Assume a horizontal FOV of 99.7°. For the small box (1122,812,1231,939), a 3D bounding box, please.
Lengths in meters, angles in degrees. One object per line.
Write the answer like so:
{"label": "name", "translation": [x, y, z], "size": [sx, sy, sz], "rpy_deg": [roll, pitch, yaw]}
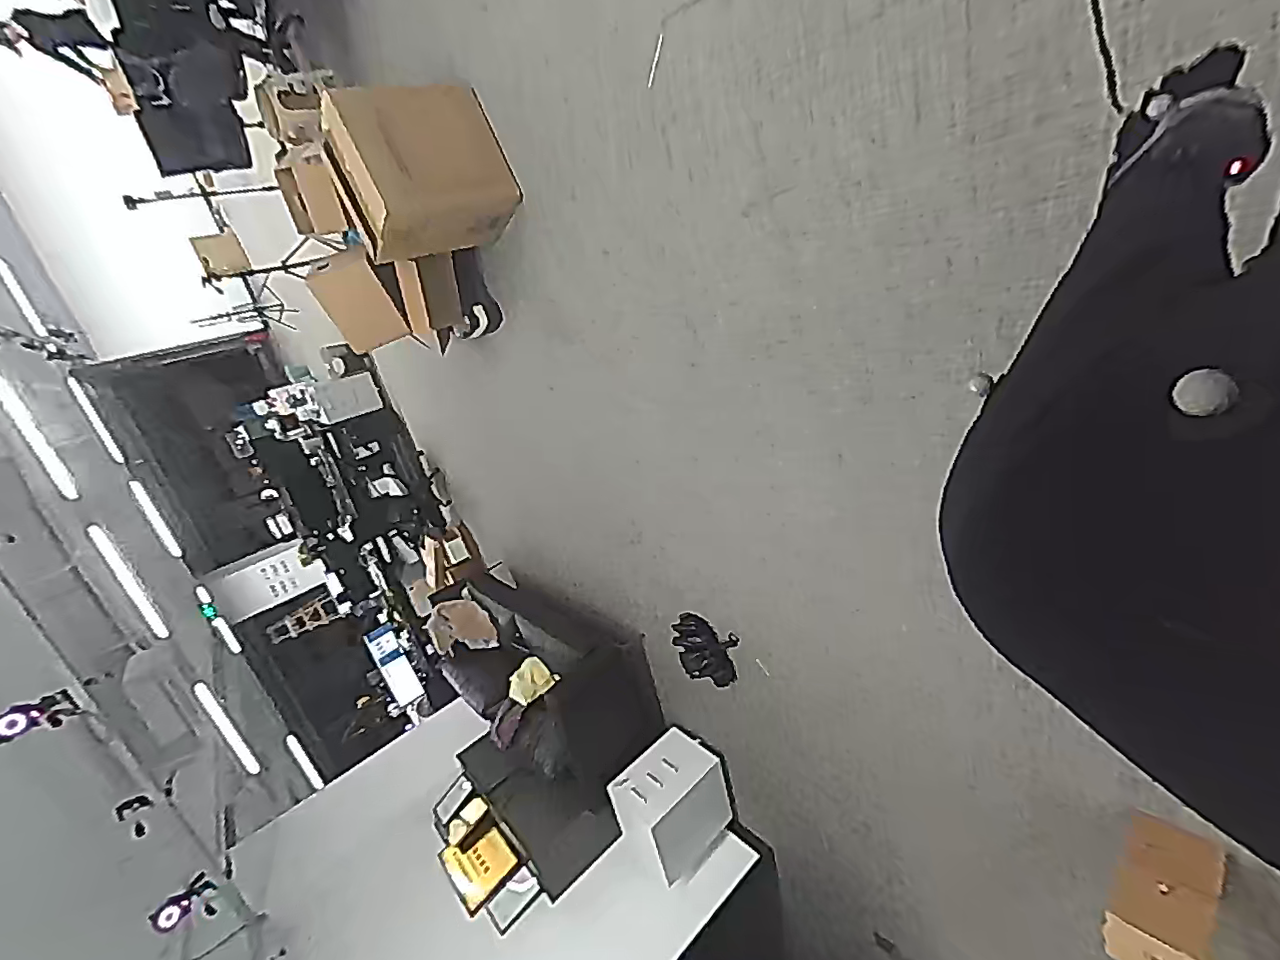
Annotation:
{"label": "small box", "translation": [1.389, 1.009, 1.403], "size": [0.179, 0.176, 0.168], "rpy_deg": [8, 122, 50]}
